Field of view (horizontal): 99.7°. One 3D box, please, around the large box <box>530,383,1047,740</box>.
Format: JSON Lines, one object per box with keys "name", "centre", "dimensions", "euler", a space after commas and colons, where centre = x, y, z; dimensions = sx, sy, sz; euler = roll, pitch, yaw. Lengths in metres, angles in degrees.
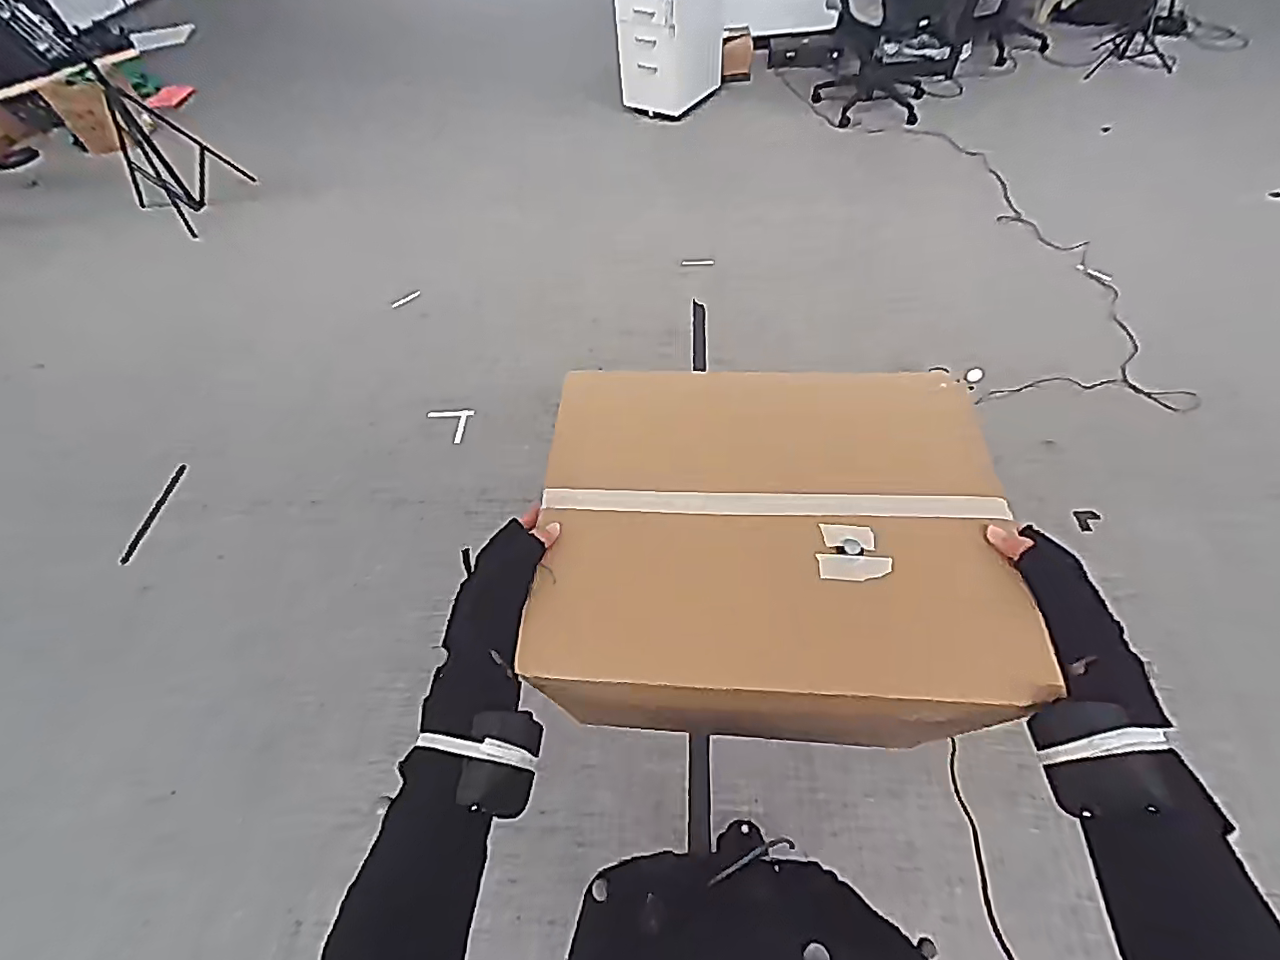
{"name": "large box", "centre": [0.123, 0.106, 0.618], "dimensions": [0.408, 0.320, 0.320], "euler": [1, 60, 5]}
